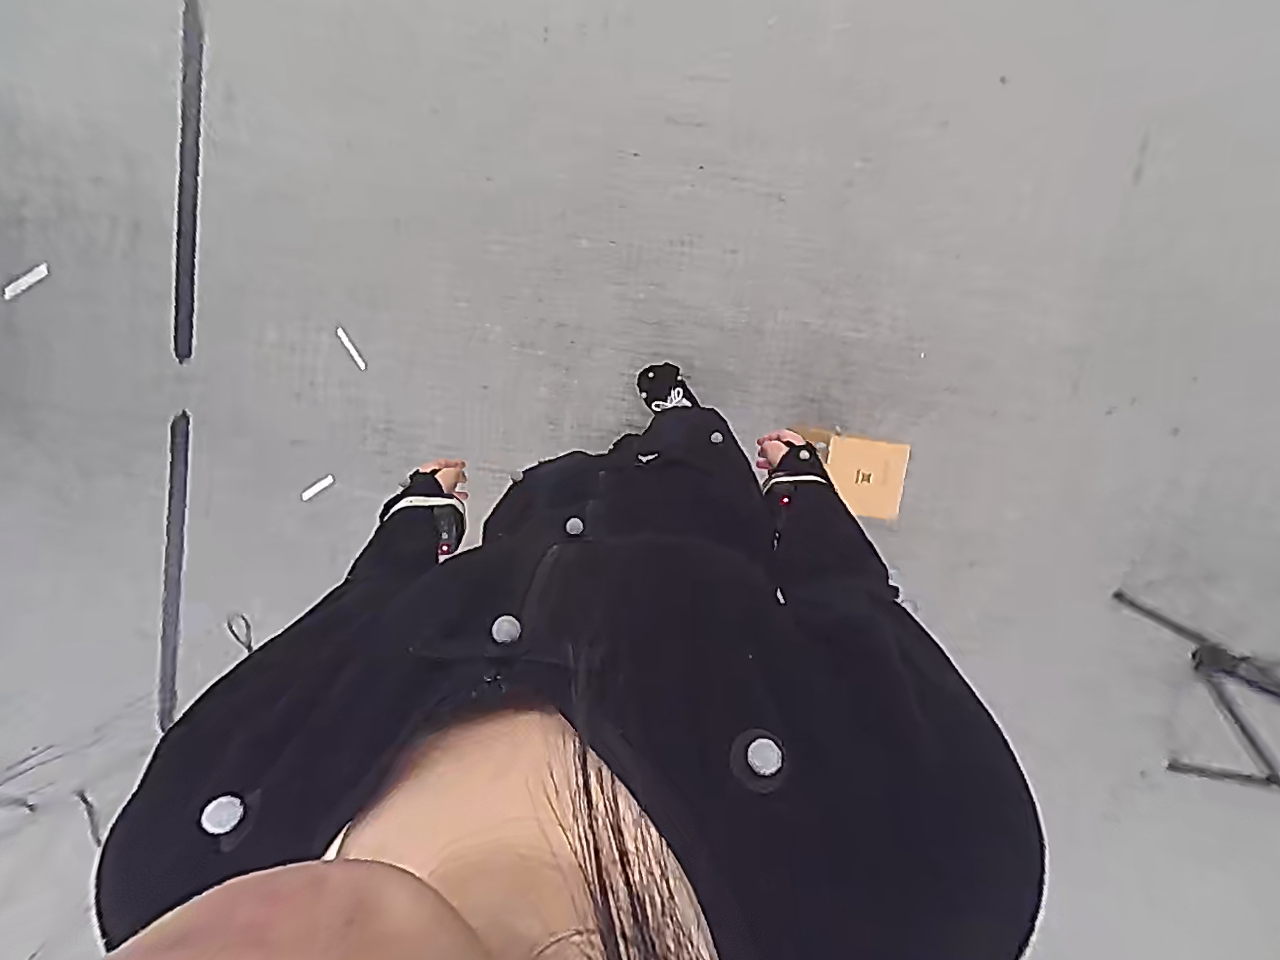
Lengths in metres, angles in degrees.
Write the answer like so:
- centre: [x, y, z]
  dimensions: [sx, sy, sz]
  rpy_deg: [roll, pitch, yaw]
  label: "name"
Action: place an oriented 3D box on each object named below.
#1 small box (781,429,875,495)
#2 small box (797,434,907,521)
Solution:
- centre: [0.478, -0.041, 1.402]
  dimensions: [0.179, 0.176, 0.168]
  rpy_deg: [7, 99, -1]
  label: "small box"
- centre: [0.476, -0.013, 1.242]
  dimensions: [0.179, 0.176, 0.168]
  rpy_deg: [7, 100, -1]
  label: "small box"
